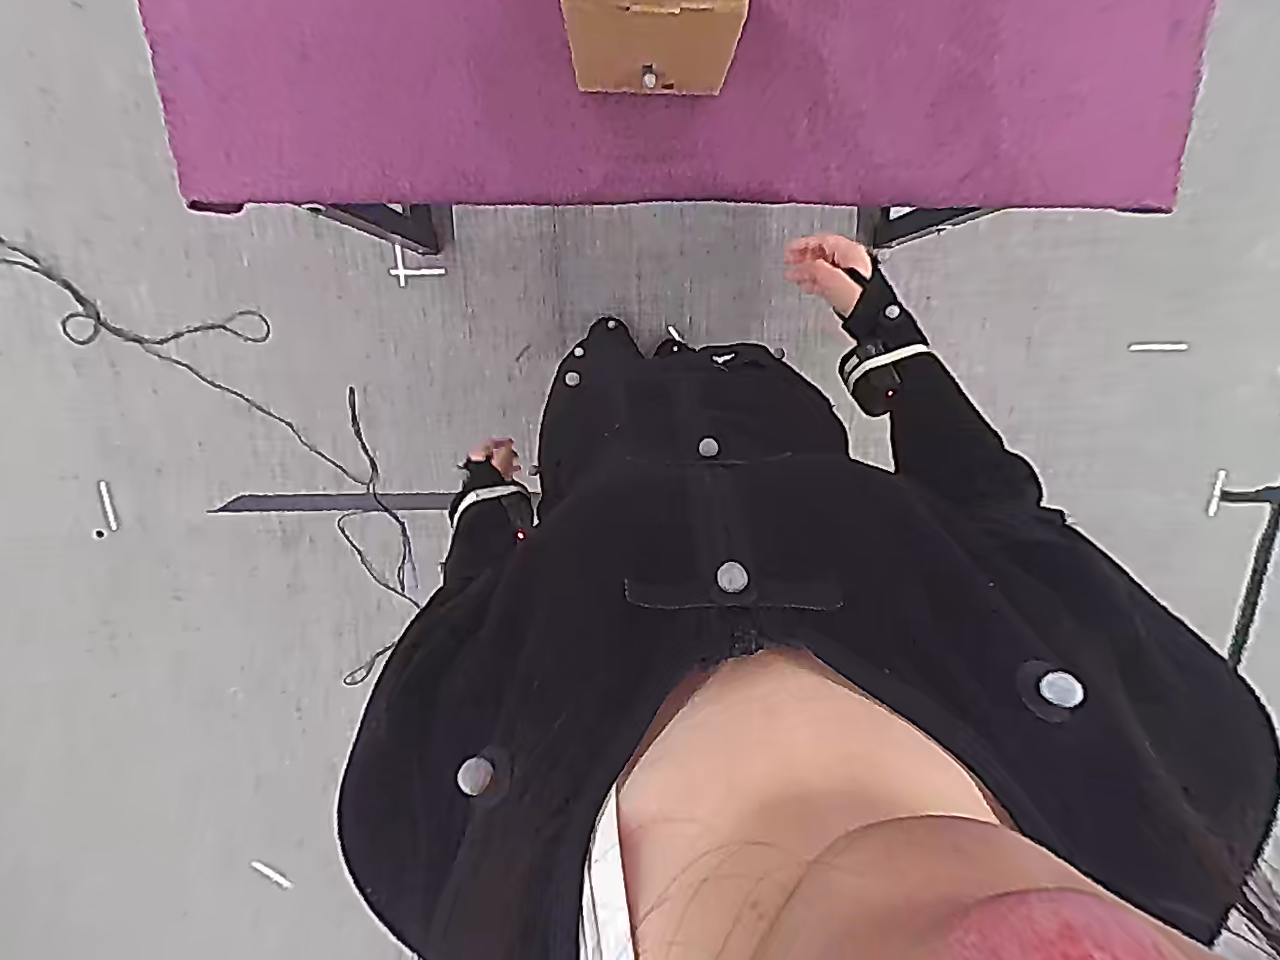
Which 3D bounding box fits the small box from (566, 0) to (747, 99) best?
[{"bbox_3d":[0.014,-0.517,0.535,0.168,0.176,0.179,1,104,-1],"label":"small box"}]
